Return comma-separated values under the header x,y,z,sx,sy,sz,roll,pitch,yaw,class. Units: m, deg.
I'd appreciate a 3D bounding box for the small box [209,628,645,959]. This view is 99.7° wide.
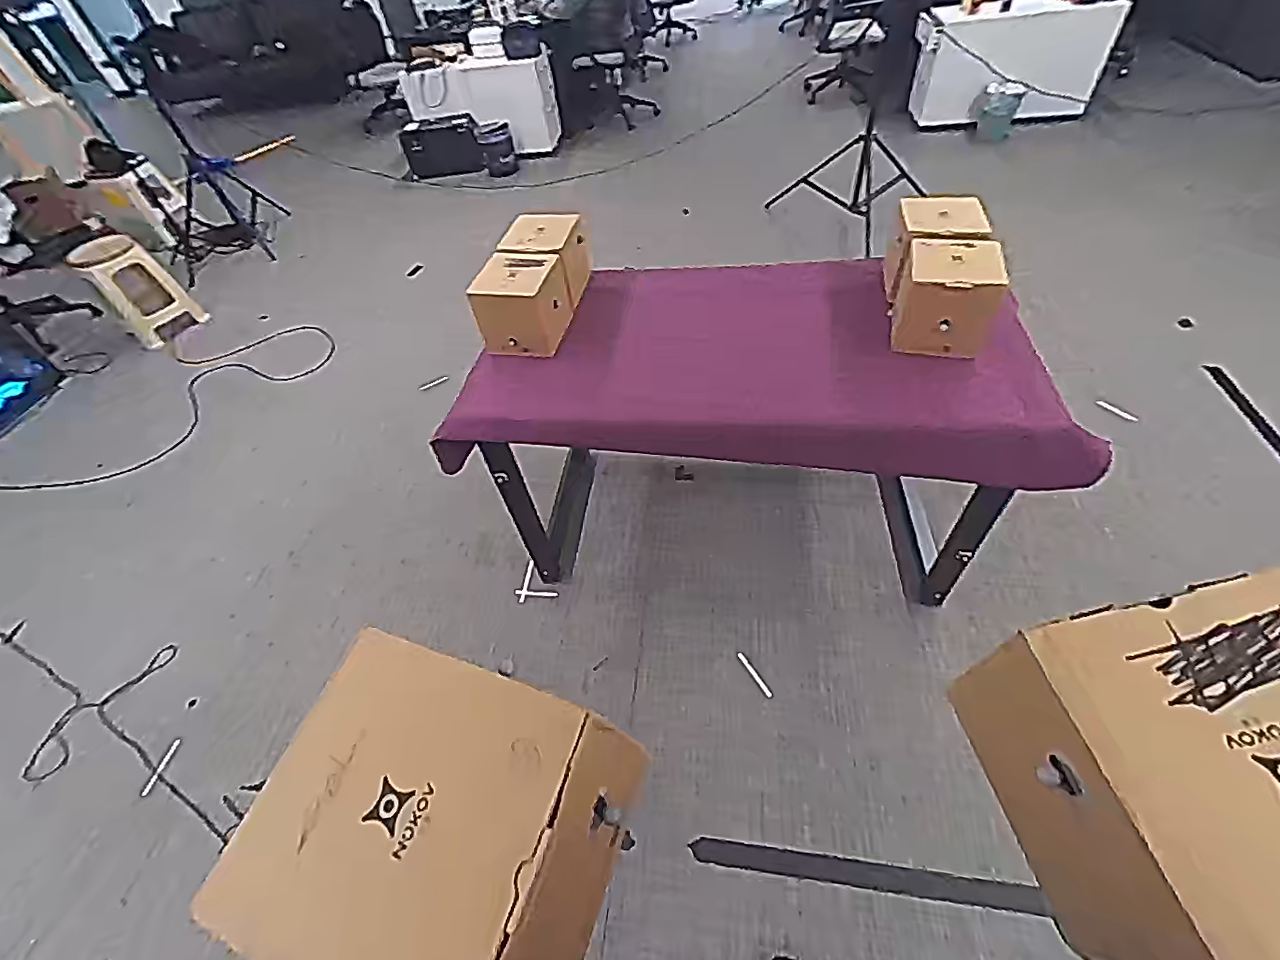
x,y,z,sx,sy,sz,roll,pitch,yaw,class
-0.111,0.225,0.363,0.179,0.176,0.168,11,59,21,small box

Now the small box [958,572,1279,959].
x,y,z,sx,sy,sz,roll,pitch,yaw,class
0.338,0.184,0.340,0.168,0.176,0.179,-15,56,4,small box

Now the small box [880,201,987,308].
x,y,z,sx,sy,sz,roll,pitch,yaw,class
0.663,-0.520,1.246,0.168,0.176,0.179,5,50,11,small box

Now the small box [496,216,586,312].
x,y,z,sx,sy,sz,roll,pitch,yaw,class
-0.244,-0.556,1.391,0.168,0.176,0.179,5,52,12,small box
